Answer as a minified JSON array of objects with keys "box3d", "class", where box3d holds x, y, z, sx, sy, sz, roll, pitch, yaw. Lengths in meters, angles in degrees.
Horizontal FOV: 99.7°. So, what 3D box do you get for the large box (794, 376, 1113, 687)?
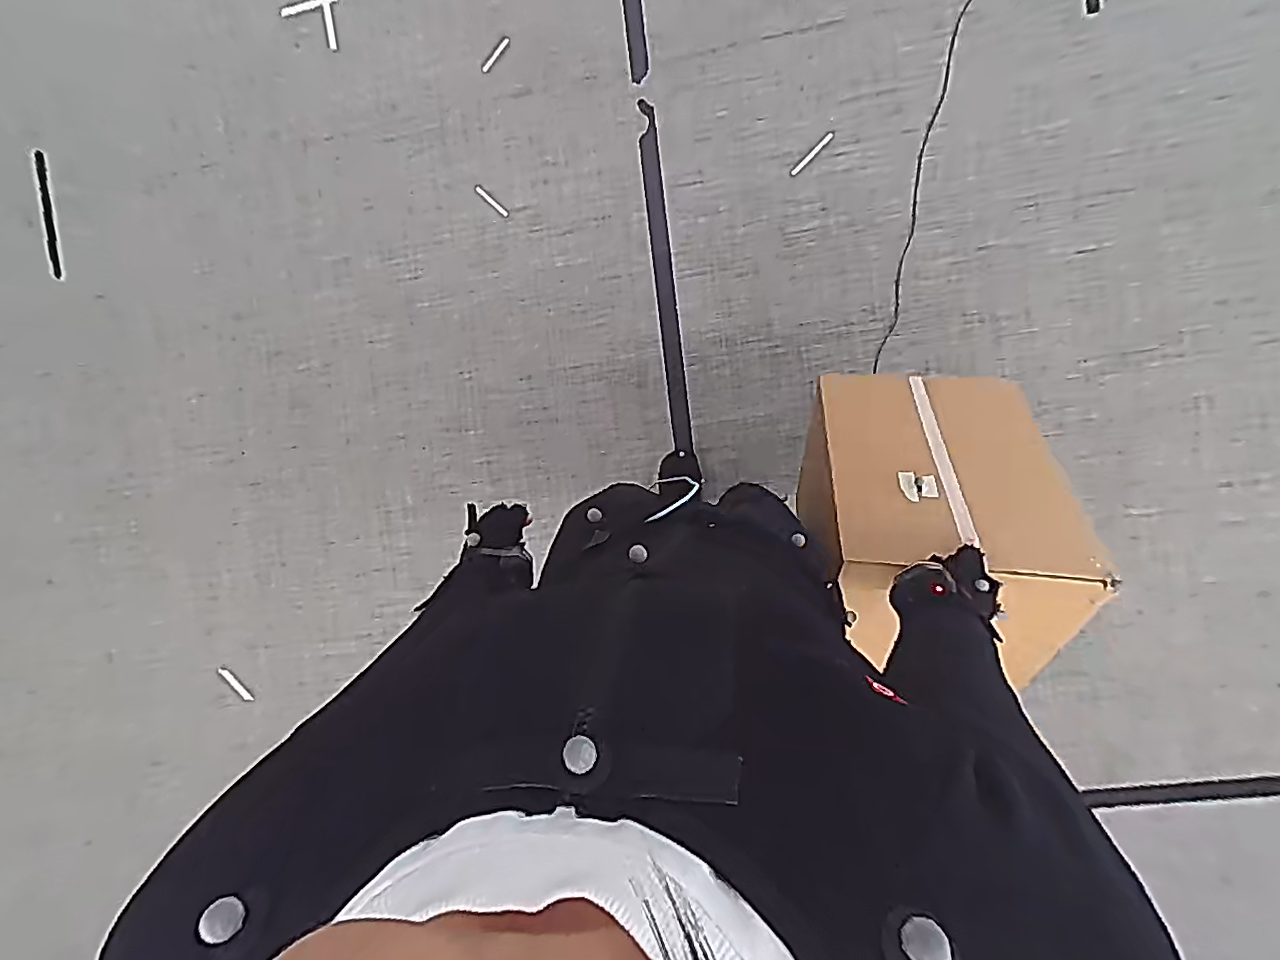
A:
[{"box3d":[0.445,0.074,0.899,0.320,0.320,0.408,3,48,9],"class":"large box"}]
